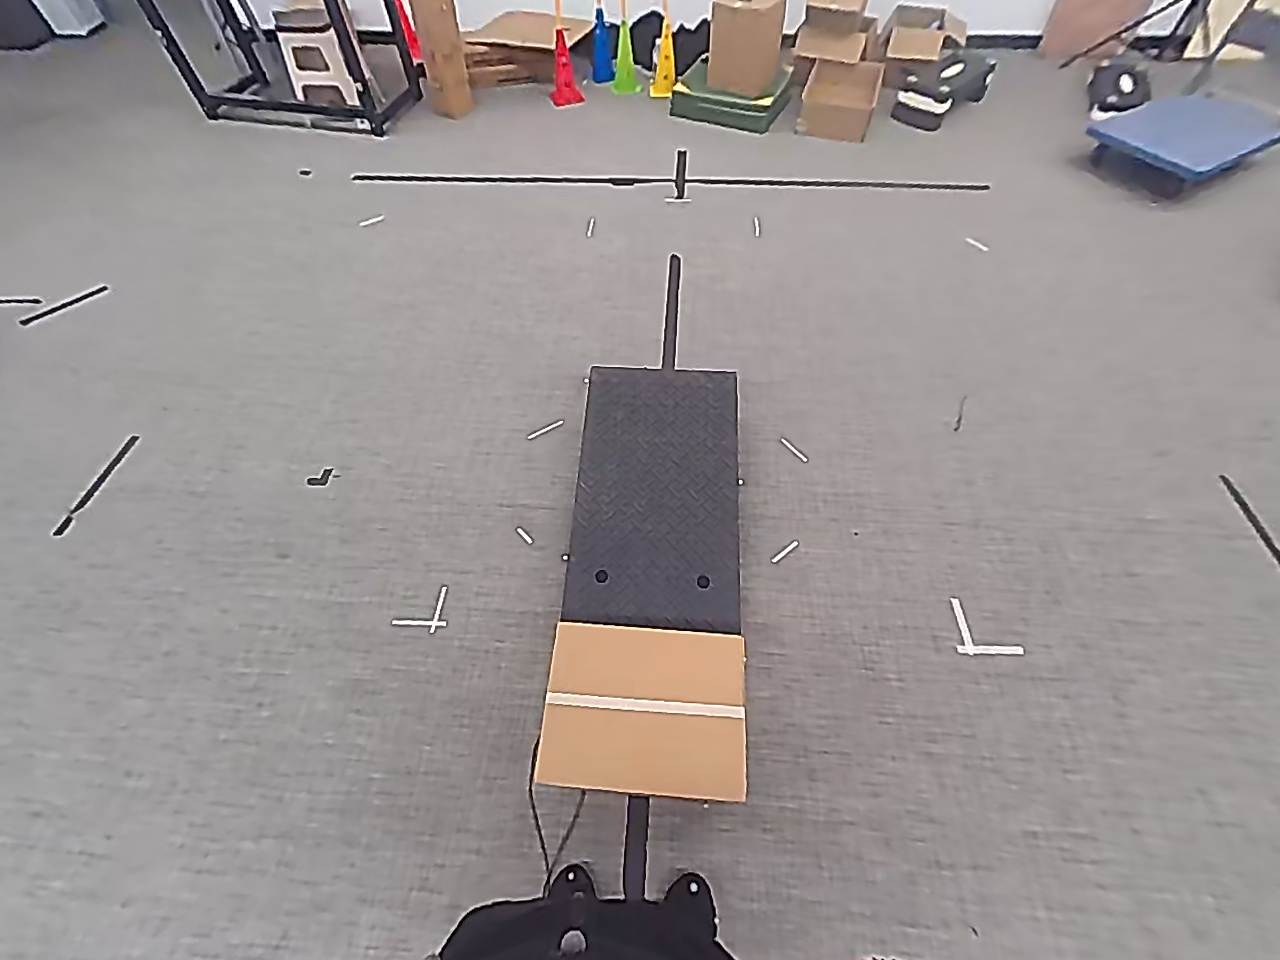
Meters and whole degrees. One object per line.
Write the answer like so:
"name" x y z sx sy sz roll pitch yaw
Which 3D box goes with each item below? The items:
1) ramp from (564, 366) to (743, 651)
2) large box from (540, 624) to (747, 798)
"ramp" 0.056 0.084 1.615 0.509 0.206 0.991 2 56 1
"large box" 0.019 0.531 1.231 0.408 0.320 0.320 3 59 3
